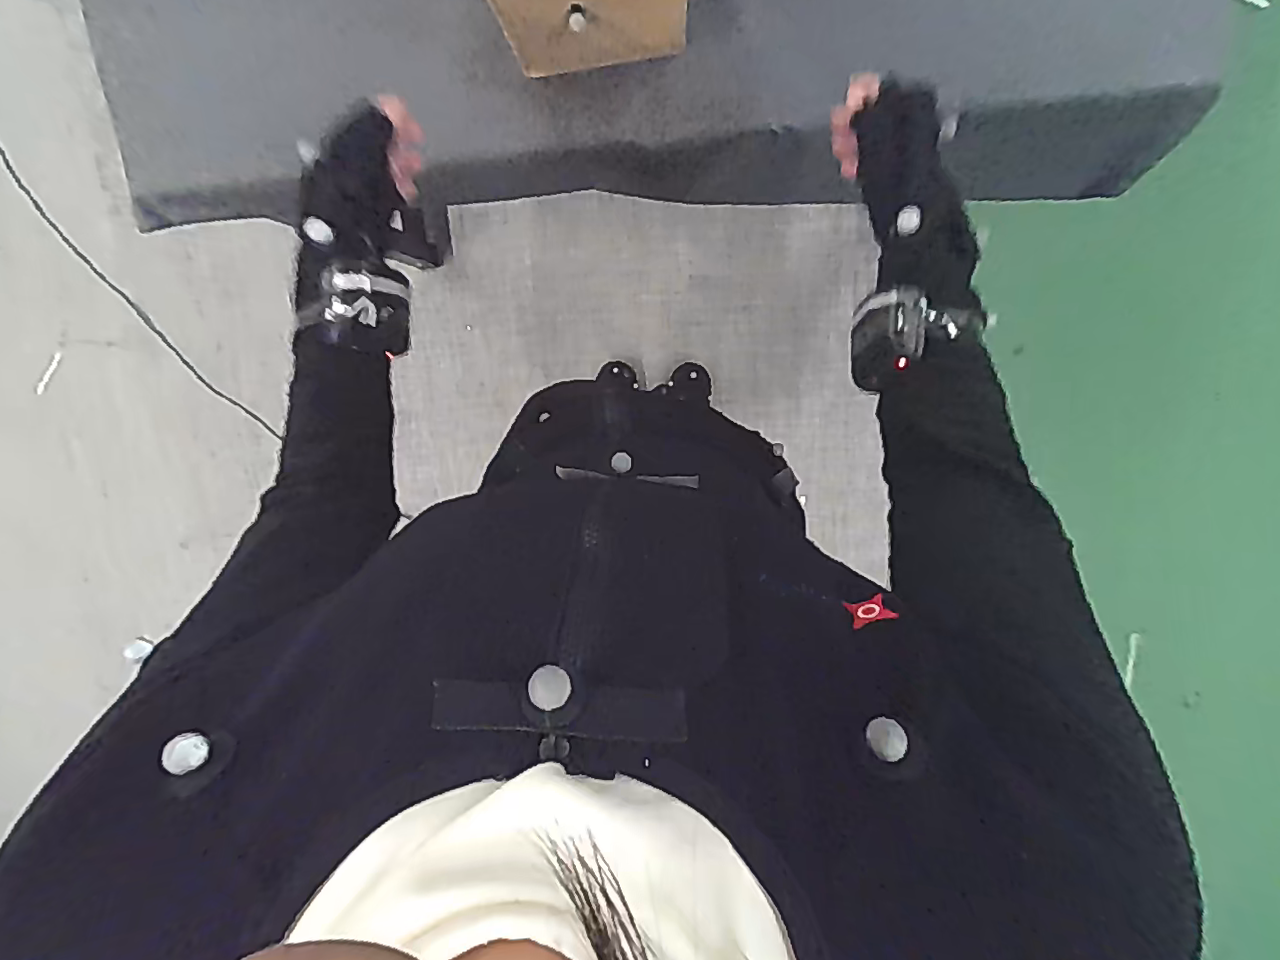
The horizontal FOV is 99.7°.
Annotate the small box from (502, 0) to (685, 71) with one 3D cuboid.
[{"bbox_3d":[-0.054,-0.519,0.495,0.179,0.176,0.168,-10,100,5],"label":"small box"}]
